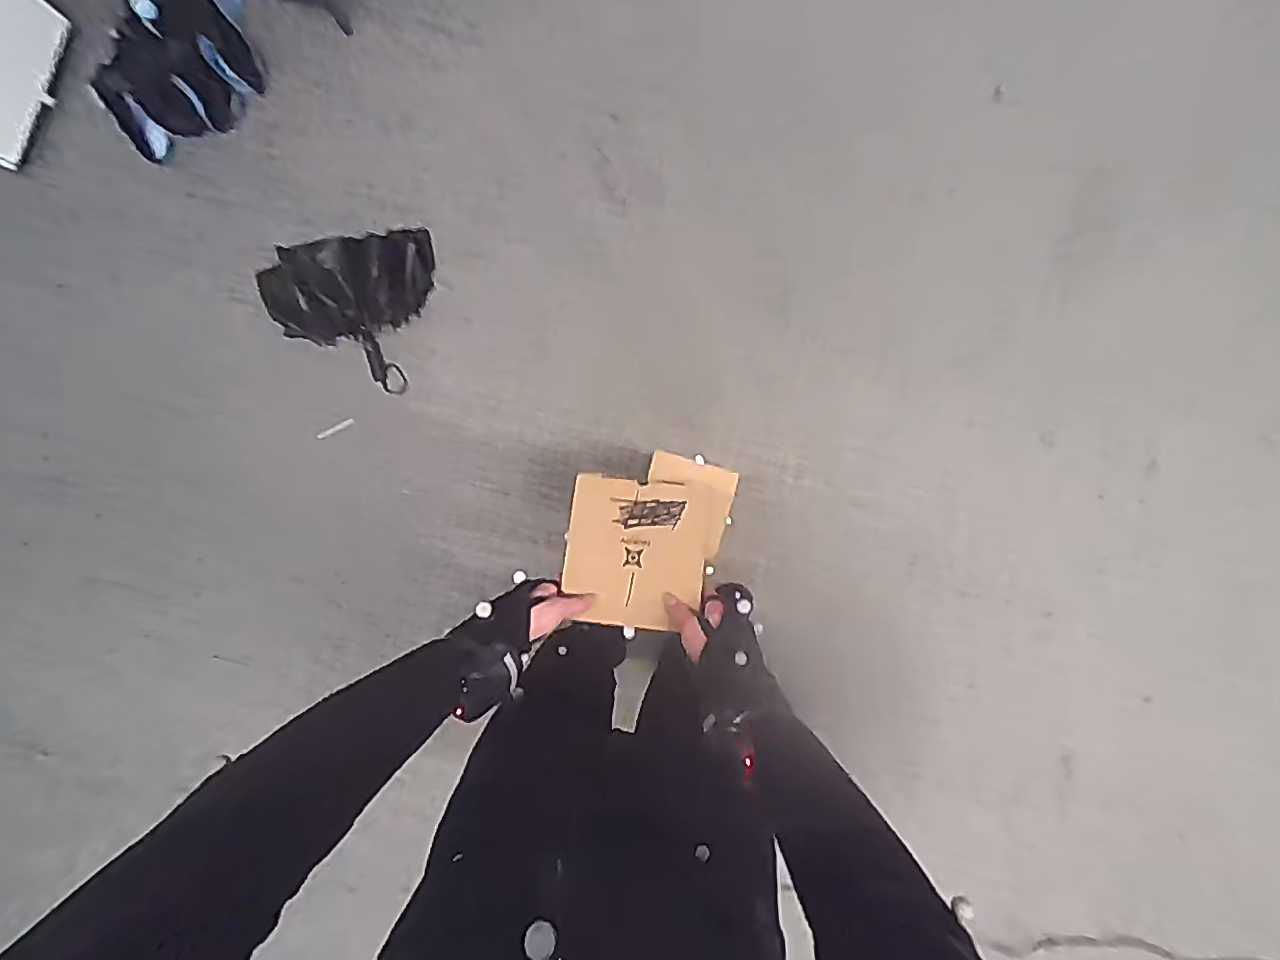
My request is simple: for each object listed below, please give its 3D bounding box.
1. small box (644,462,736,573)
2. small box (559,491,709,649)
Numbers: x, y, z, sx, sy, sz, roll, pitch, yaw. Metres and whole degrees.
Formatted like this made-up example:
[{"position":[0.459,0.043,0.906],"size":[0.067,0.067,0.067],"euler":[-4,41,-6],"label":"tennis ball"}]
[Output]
[{"position":[0.083,0.073,1.093],"size":[0.168,0.176,0.179],"euler":[15,88,1],"label":"small box"},{"position":[0.000,0.123,0.714],"size":[0.168,0.176,0.179],"euler":[4,76,6],"label":"small box"}]
